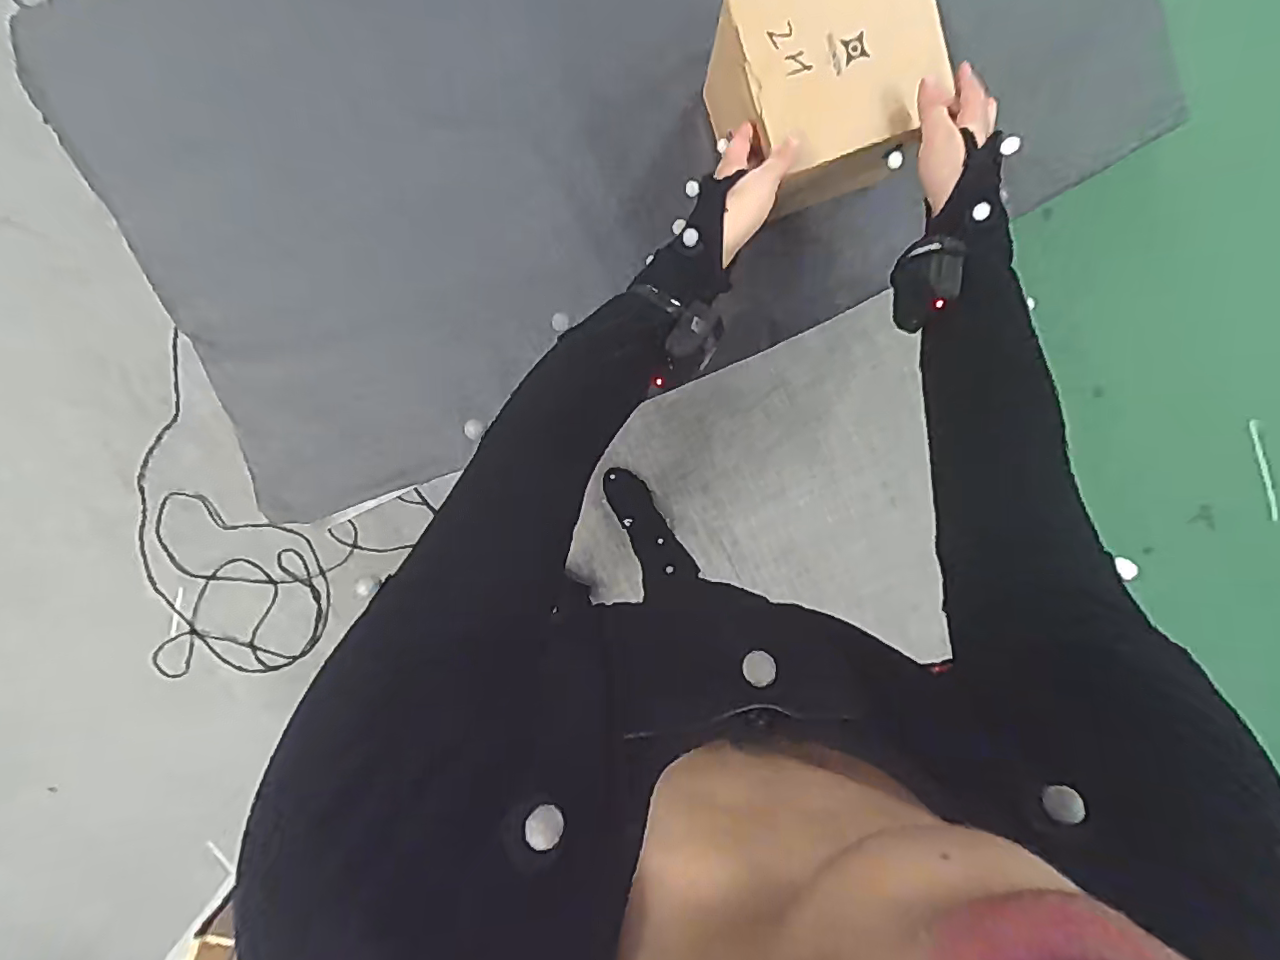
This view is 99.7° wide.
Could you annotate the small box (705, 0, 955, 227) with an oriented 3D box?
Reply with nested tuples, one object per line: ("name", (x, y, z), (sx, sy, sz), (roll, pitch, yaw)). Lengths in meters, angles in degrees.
("small box", (0.179, -0.390, 0.559), (0.179, 0.176, 0.168), (-18, 99, 3))
